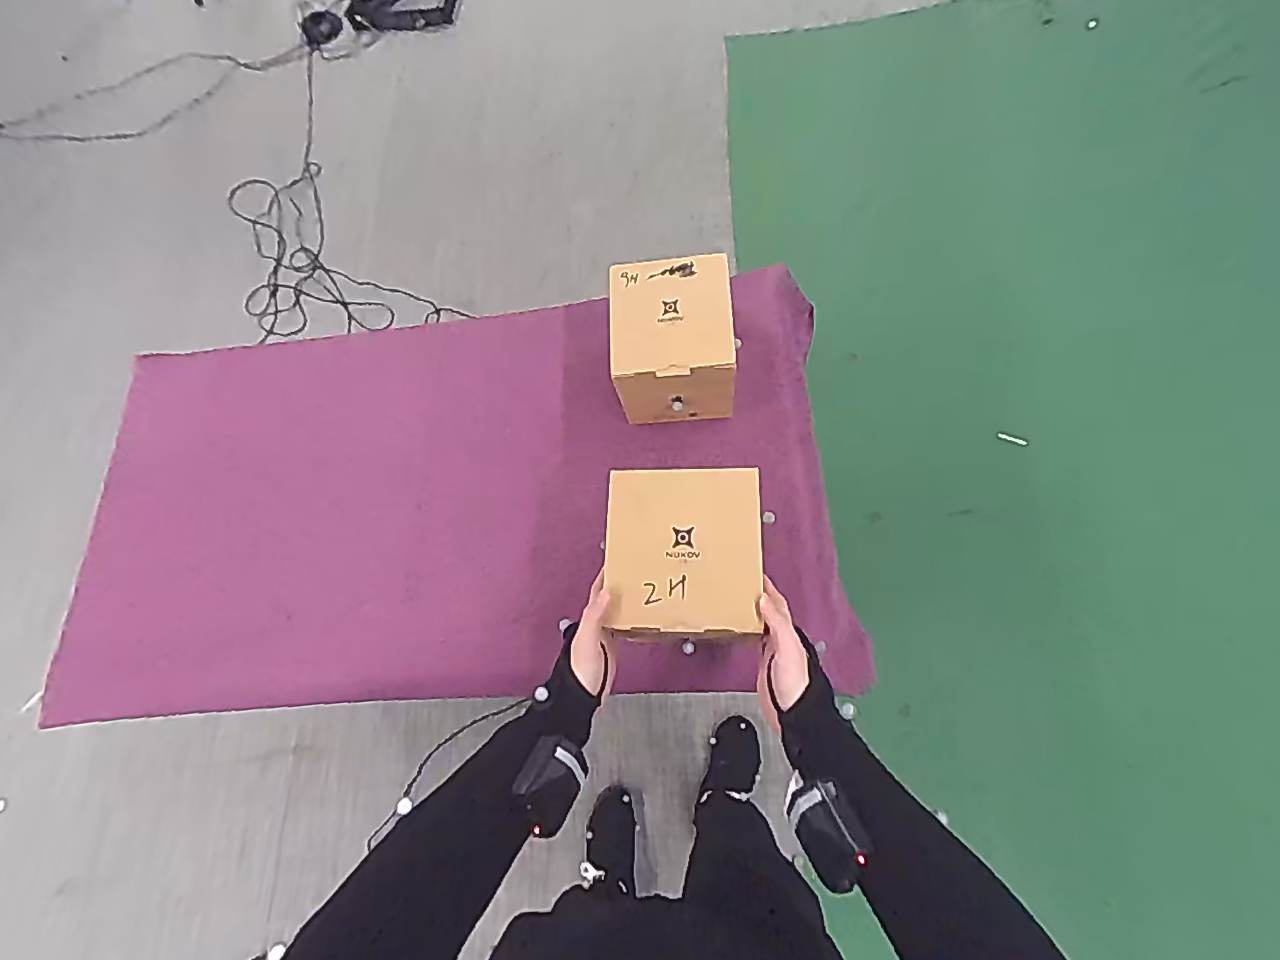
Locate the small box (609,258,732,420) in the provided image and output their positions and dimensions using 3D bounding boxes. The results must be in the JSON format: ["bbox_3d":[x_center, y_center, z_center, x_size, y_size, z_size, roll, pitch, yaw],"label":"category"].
[{"bbox_3d":[0.050,-0.196,0.803,0.168,0.176,0.179,-3,74,7],"label":"small box"}]

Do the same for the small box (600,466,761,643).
[{"bbox_3d":[0.054,0.095,0.647,0.168,0.176,0.179,-1,70,9],"label":"small box"}]
